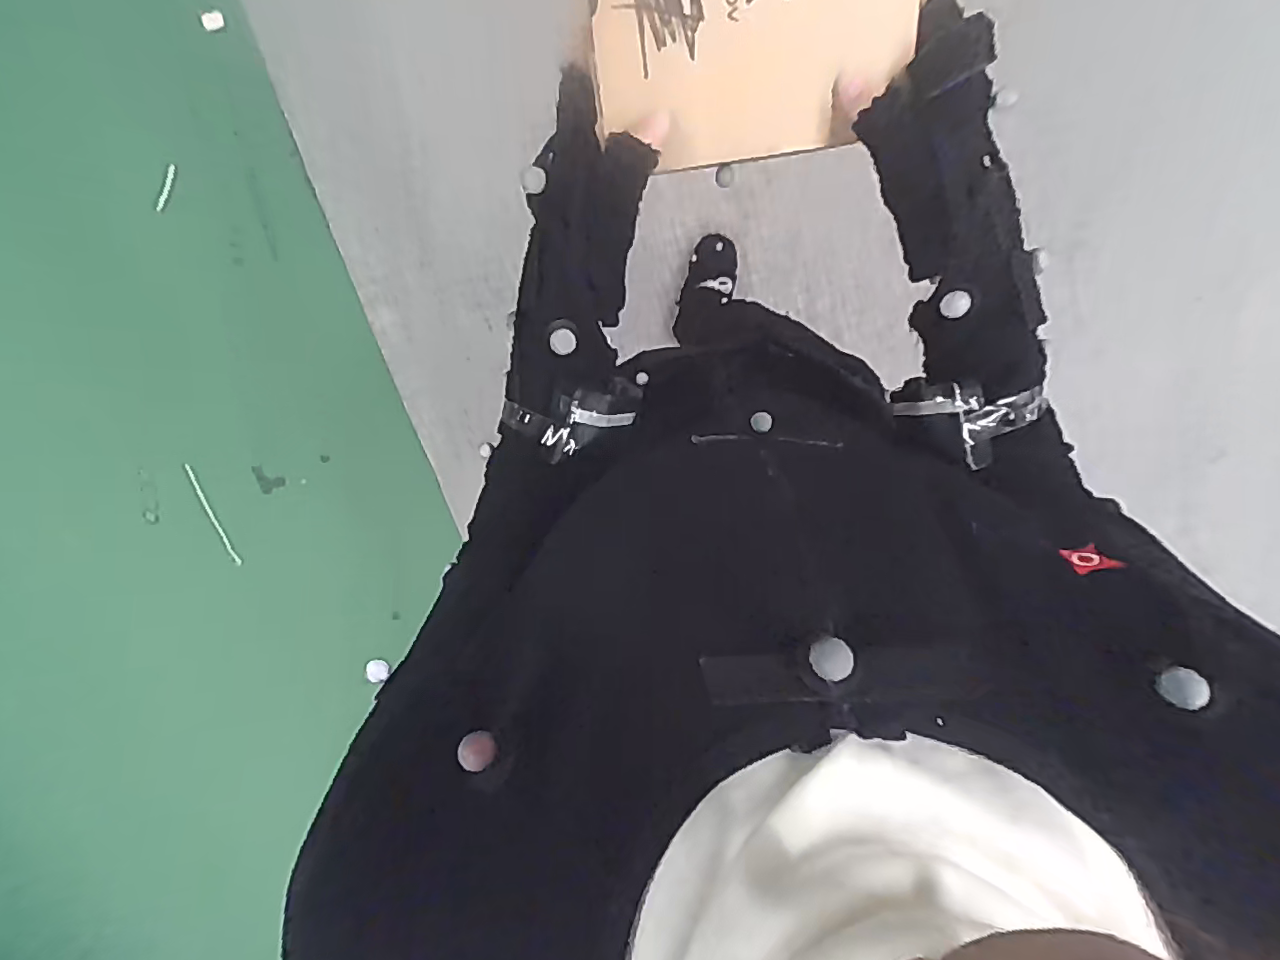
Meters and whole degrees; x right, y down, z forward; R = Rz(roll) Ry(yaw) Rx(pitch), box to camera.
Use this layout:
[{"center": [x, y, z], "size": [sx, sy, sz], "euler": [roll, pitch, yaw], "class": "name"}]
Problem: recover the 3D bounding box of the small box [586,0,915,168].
[{"center": [0.056, -0.307, 0.348], "size": [0.179, 0.176, 0.168], "euler": [-7, 118, 3], "class": "small box"}]
